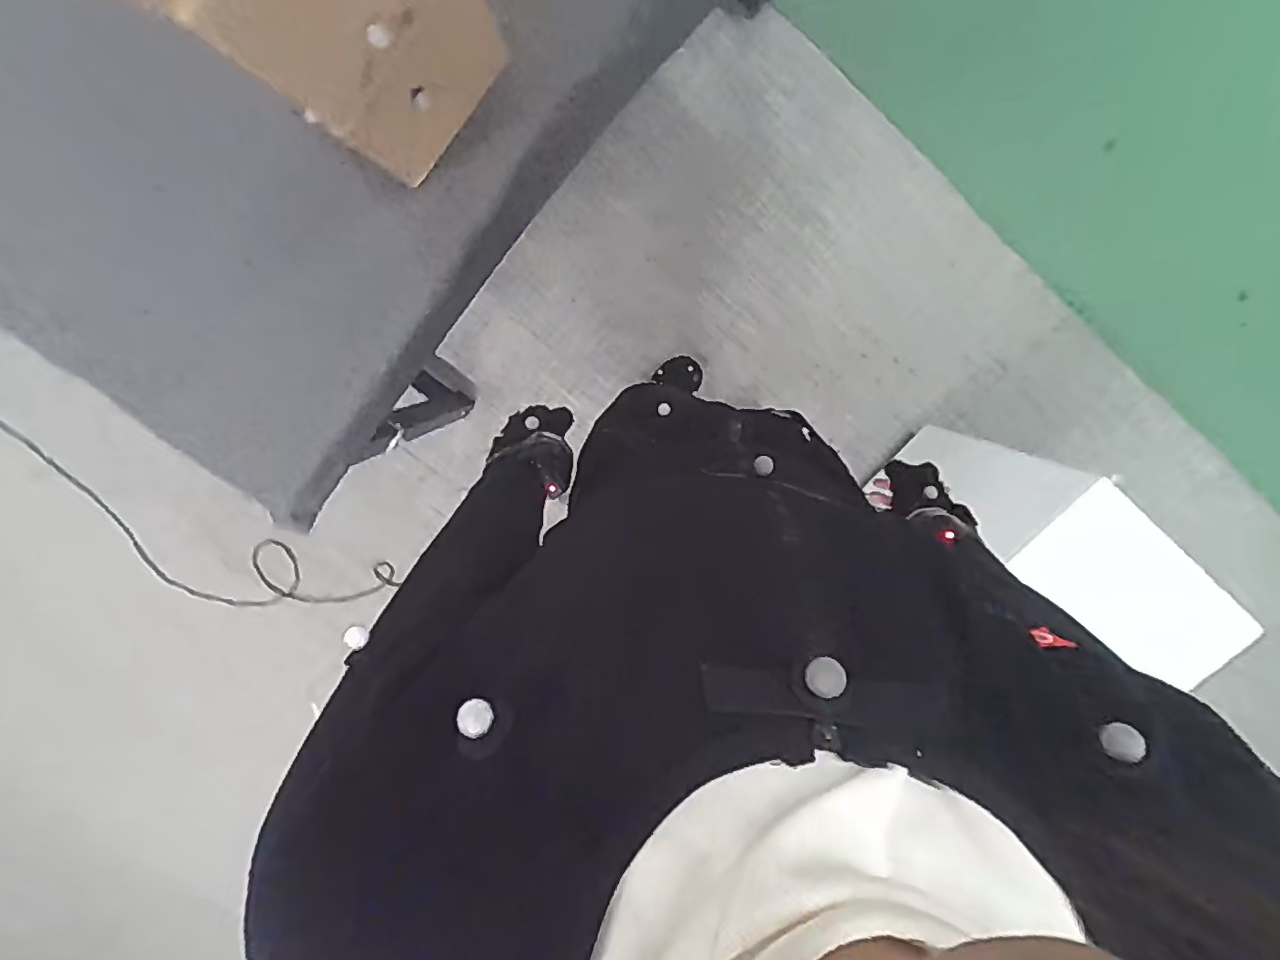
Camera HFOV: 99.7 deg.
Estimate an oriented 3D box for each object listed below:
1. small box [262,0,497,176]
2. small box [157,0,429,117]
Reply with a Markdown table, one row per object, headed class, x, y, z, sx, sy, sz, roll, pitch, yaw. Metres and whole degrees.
| class | x | y | z | sx | sy | sz | roll | pitch | yaw |
| --- | --- | --- | --- | --- | --- | --- | --- | --- | --- |
| small box | -0.261 | -0.426 | 0.503 | 0.168 | 0.176 | 0.179 | 41 | 103 | -8 |
| small box | -0.264 | -0.384 | 0.345 | 0.179 | 0.176 | 0.168 | 39 | 102 | -6 |
